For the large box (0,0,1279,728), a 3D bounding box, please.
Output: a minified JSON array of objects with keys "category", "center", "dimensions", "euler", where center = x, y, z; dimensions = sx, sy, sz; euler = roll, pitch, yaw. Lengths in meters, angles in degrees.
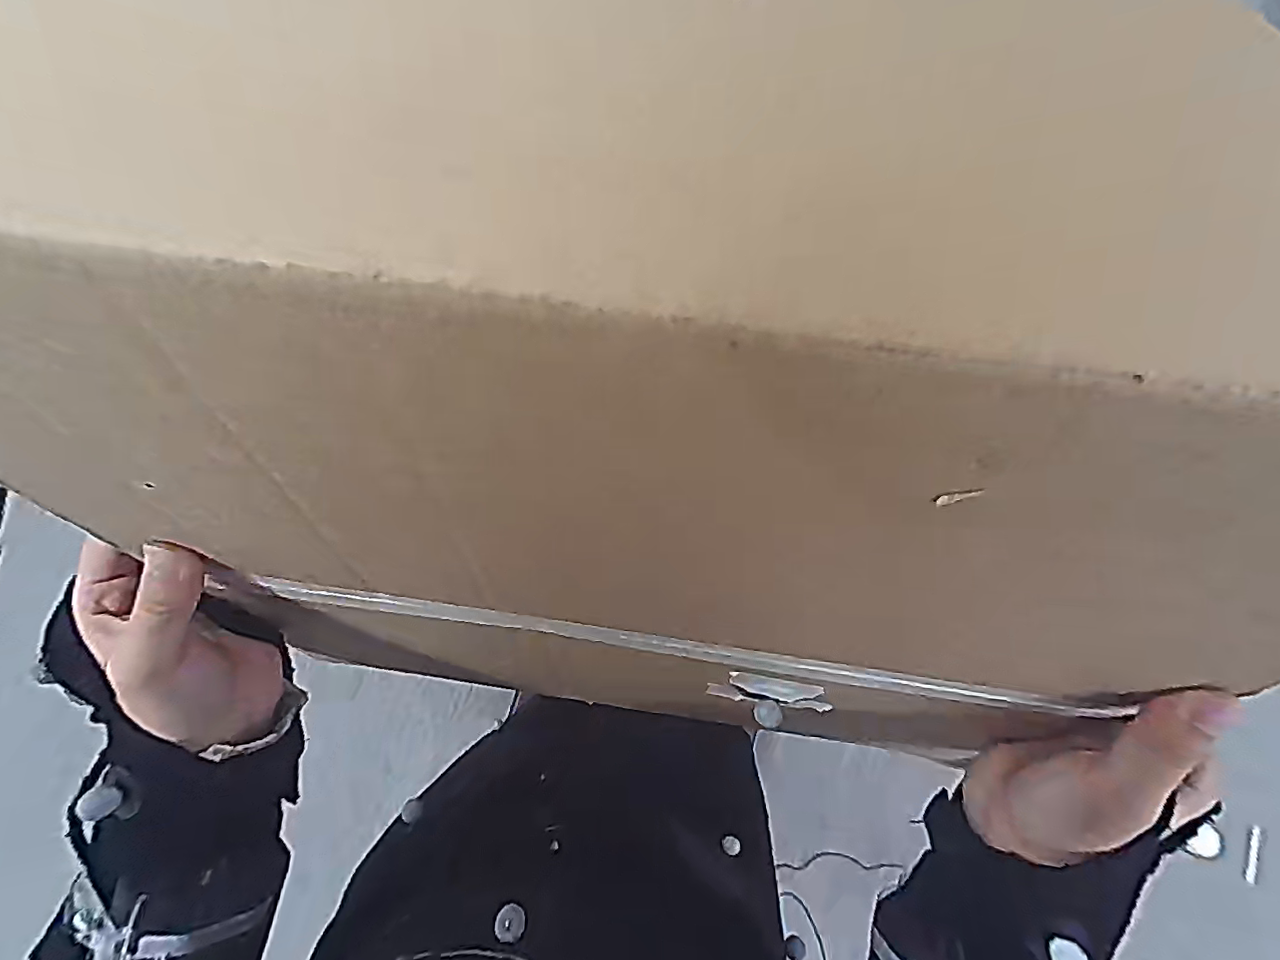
[{"category":"large box","center":[0.037,-0.087,0.291],"dimensions":[0.408,0.320,0.320],"euler":[8,57,2]}]
